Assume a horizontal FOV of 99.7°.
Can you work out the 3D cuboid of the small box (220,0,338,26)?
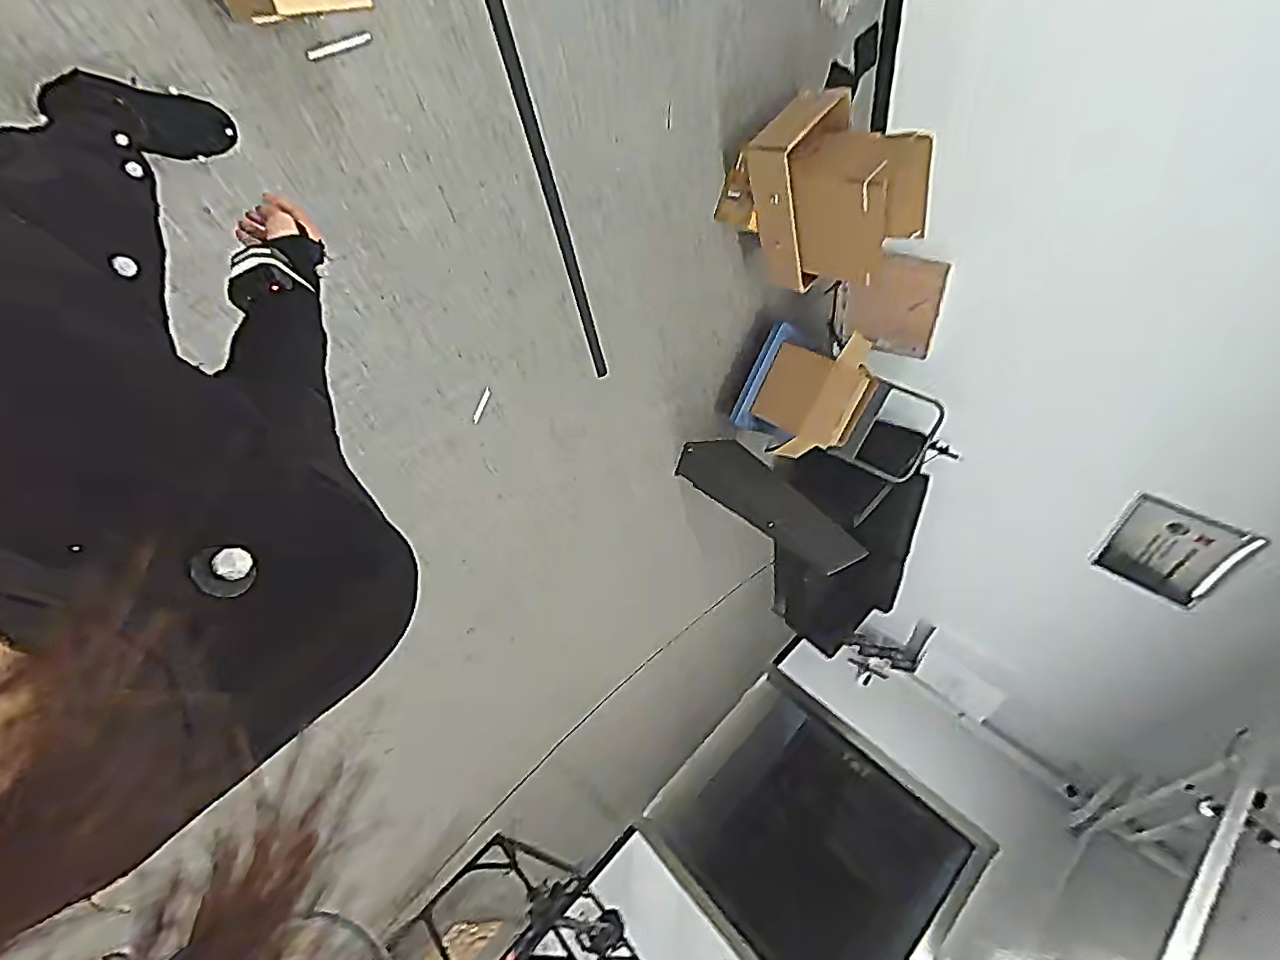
[{"bbox_3d":[-0.722,-0.984,1.025,0.179,0.176,0.168,-38,141,-24],"label":"small box"}]
